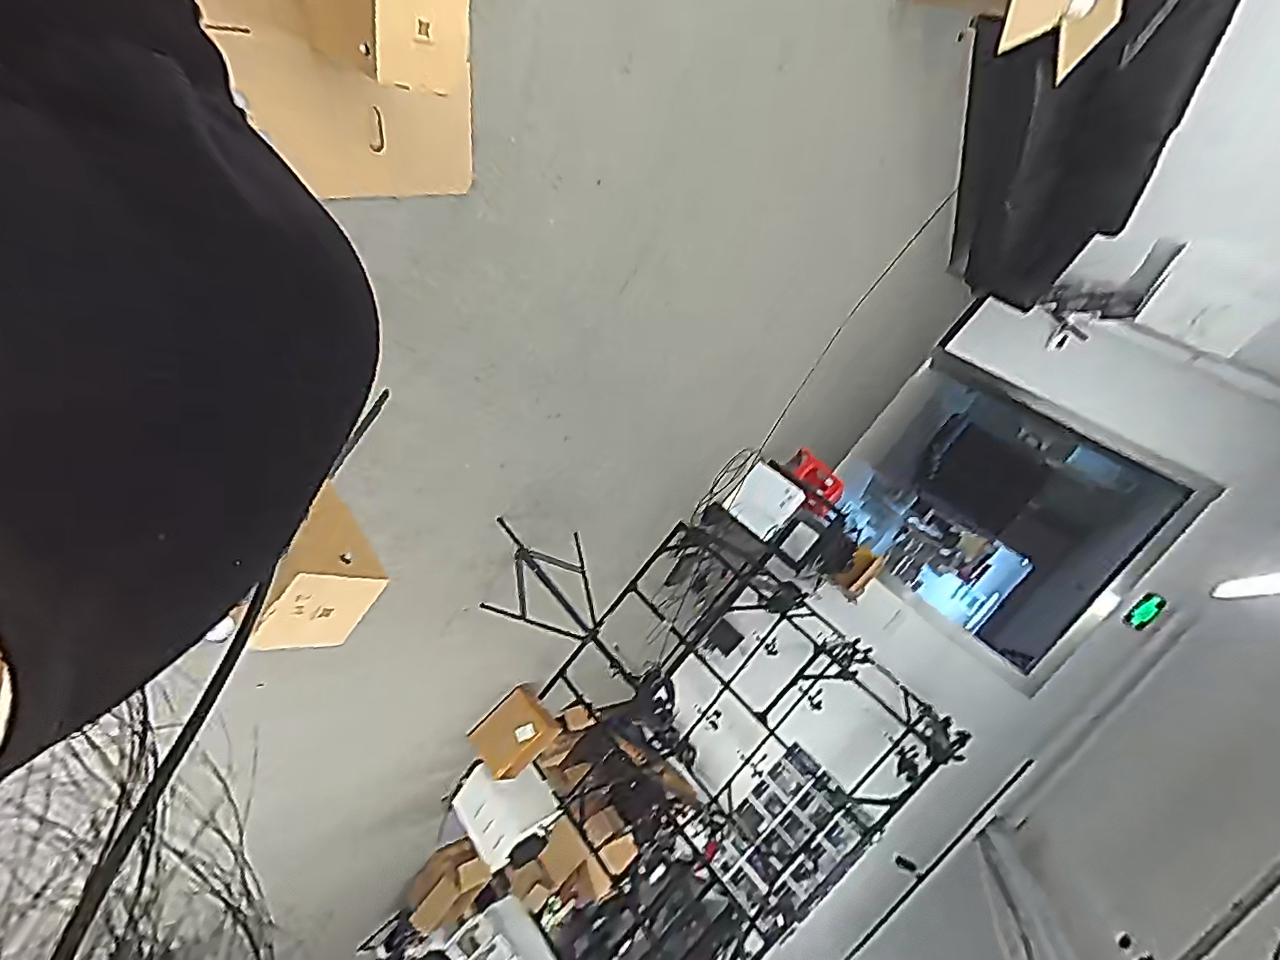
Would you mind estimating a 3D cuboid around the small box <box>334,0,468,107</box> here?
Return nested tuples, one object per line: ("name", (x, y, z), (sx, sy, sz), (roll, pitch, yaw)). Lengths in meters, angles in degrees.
("small box", (-0.429, -0.806, 0.965), (0.168, 0.176, 0.179), (-22, 144, -41))

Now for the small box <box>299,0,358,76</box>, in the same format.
("small box", (-0.538, -0.900, 1.042), (0.168, 0.176, 0.179), (-23, 145, -40))

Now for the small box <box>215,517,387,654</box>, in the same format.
("small box", (-0.600, 0.185, 0.961), (0.168, 0.176, 0.179), (-52, 152, 5))
